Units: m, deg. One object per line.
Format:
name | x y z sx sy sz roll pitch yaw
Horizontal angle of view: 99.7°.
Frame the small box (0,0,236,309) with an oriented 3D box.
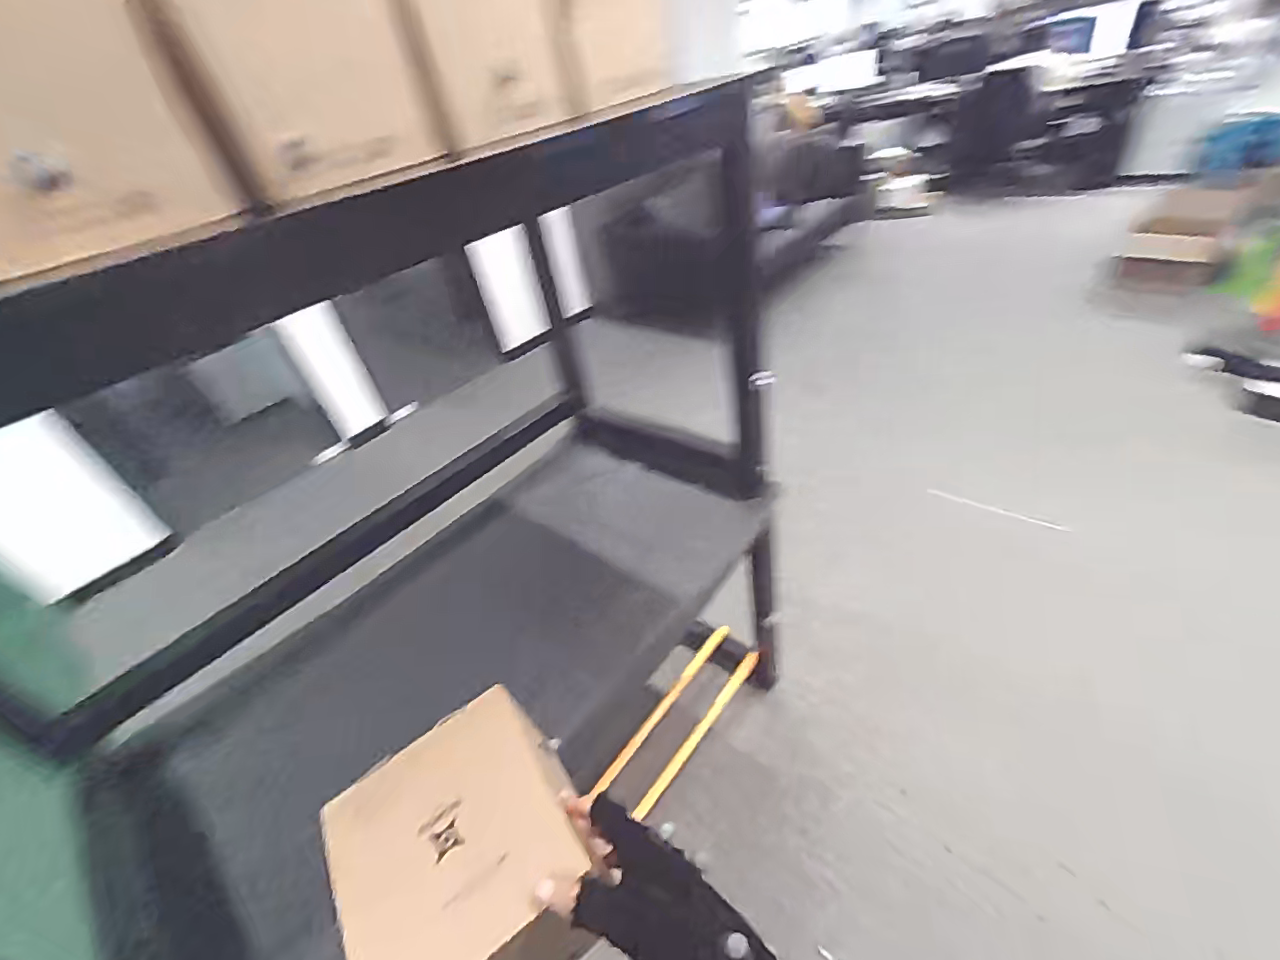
small box | -0.457 -0.238 0.400 0.179 0.176 0.168 18 47 33
